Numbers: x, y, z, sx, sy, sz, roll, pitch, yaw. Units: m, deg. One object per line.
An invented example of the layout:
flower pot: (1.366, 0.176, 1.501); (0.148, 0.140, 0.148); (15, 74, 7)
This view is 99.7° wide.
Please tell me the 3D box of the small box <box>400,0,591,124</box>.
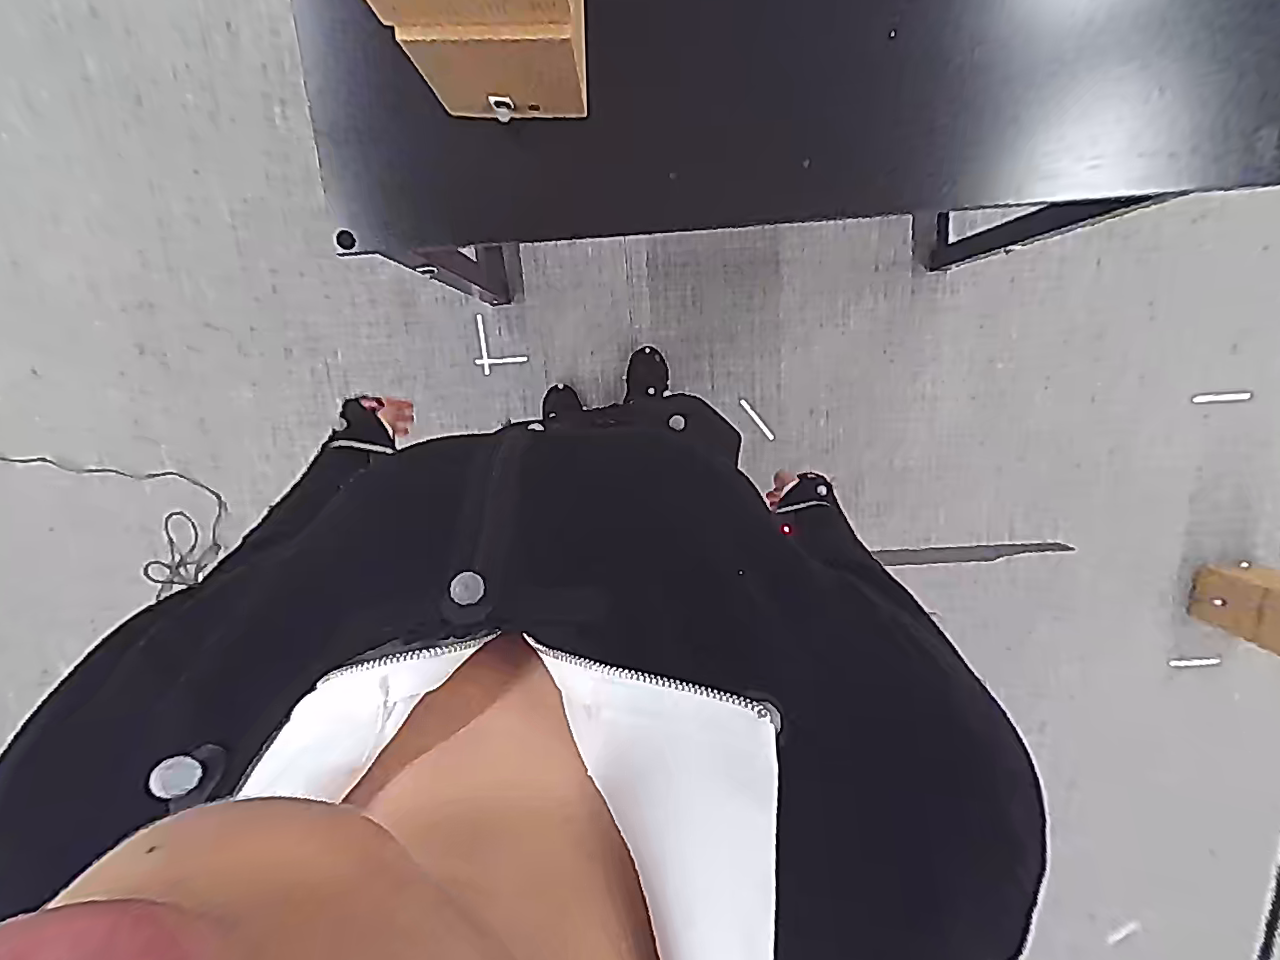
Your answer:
small box: (-0.141, -0.504, 0.561); (0.168, 0.176, 0.179); (-1, 102, 0)

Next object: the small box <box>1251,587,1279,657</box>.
small box: (1.713, 0.374, 1.356); (0.168, 0.176, 0.179); (-4, 103, 0)

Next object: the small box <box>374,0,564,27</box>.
small box: (-0.143, -0.477, 0.398); (0.179, 0.176, 0.168); (-1, 101, 0)

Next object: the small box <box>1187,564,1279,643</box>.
small box: (1.709, 0.343, 1.519); (0.179, 0.176, 0.168); (-2, 102, 0)
